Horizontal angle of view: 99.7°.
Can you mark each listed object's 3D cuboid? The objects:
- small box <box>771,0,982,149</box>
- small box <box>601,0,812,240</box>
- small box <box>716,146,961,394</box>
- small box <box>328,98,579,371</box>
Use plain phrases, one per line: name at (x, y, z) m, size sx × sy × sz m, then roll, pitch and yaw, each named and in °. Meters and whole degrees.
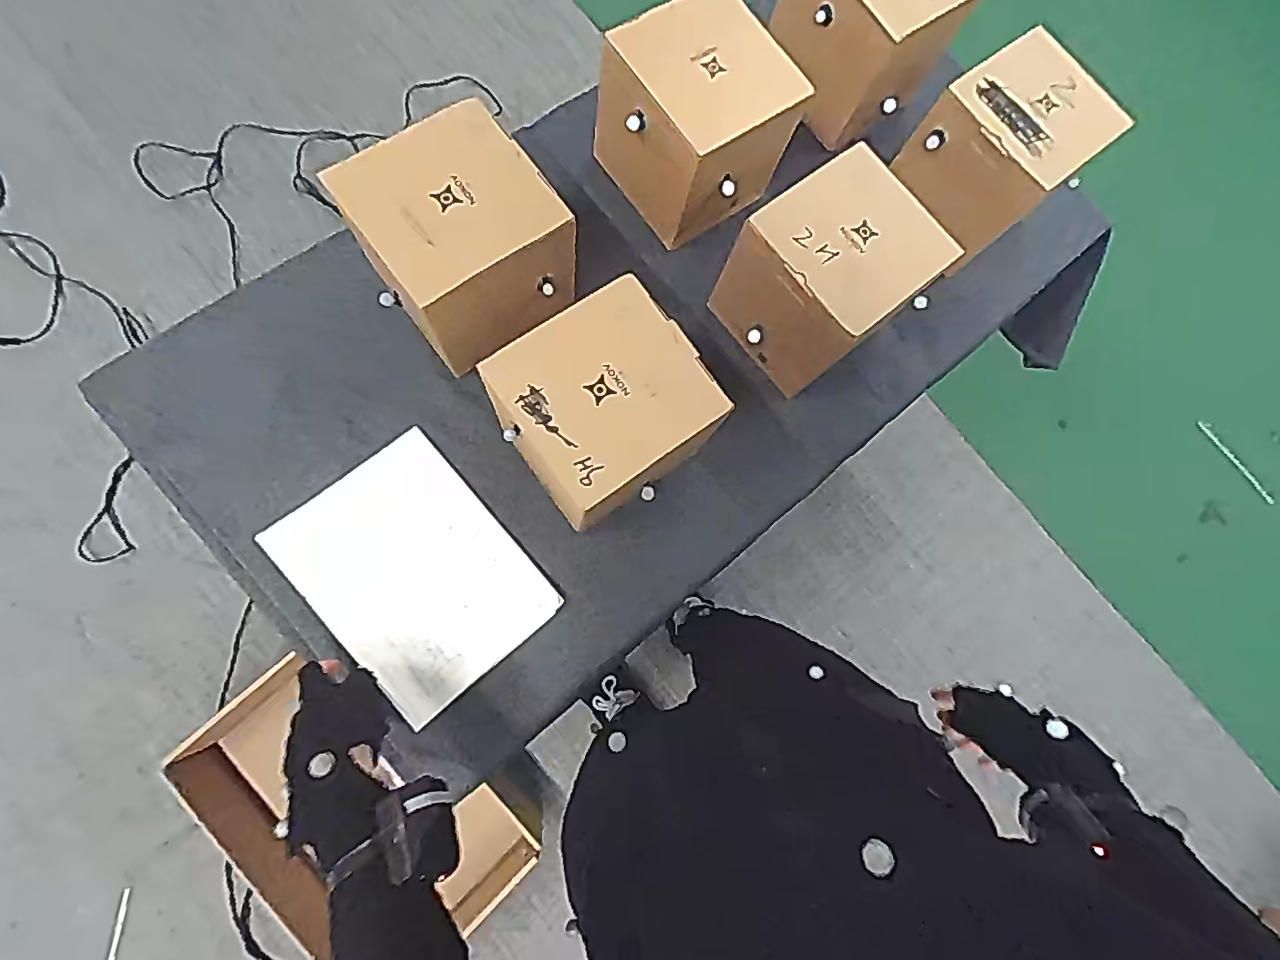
small box at (0.295, -0.596, 0.720) m, size 0.168 × 0.176 × 0.179 m, roll -35°, pitch 85°, yaw -12°
small box at (0.067, -0.427, 0.660) m, size 0.168 × 0.176 × 0.179 m, roll -35°, pitch 84°, yaw -12°
small box at (0.215, -0.232, 0.635) m, size 0.179 × 0.176 × 0.168 m, roll -38°, pitch 84°, yaw -12°
small box at (-0.186, -0.252, 0.588) m, size 0.179 × 0.176 × 0.168 m, roll -36°, pitch 85°, yaw -14°
